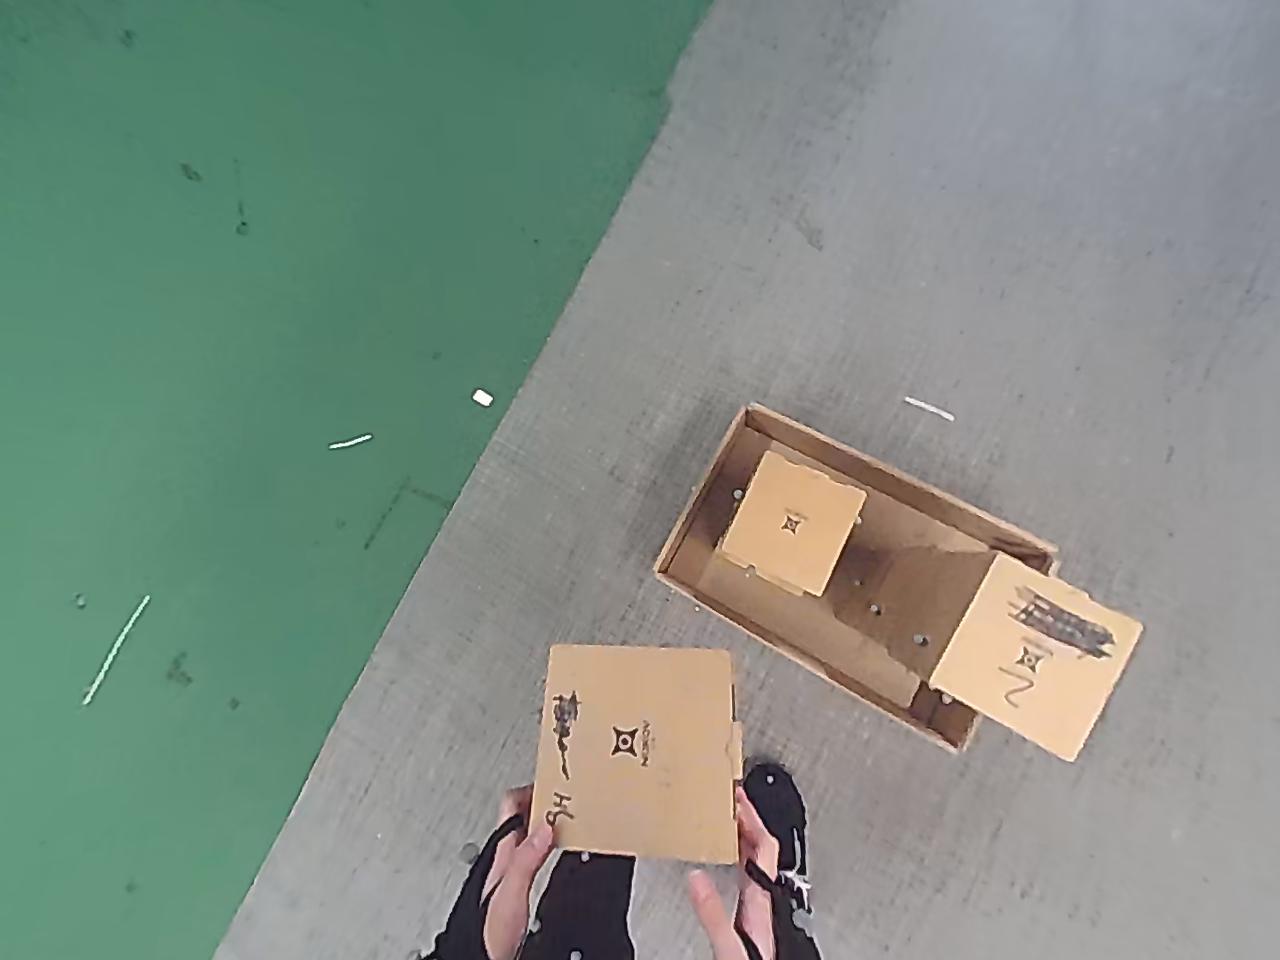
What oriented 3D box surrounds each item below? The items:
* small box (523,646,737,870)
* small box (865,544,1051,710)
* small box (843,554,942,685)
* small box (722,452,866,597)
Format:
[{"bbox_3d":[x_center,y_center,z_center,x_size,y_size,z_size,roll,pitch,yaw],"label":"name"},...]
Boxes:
[{"bbox_3d":[0.004,0.265,0.539,0.179,0.176,0.168,-1,64,9],"label":"small box"},{"bbox_3d":[0.475,0.218,0.844,0.168,0.176,0.179,32,88,12],"label":"small box"},{"bbox_3d":[0.506,0.248,1.001,0.179,0.176,0.168,32,88,14],"label":"small box"},{"bbox_3d":[0.250,0.077,0.907,0.168,0.176,0.179,25,86,12],"label":"small box"}]
